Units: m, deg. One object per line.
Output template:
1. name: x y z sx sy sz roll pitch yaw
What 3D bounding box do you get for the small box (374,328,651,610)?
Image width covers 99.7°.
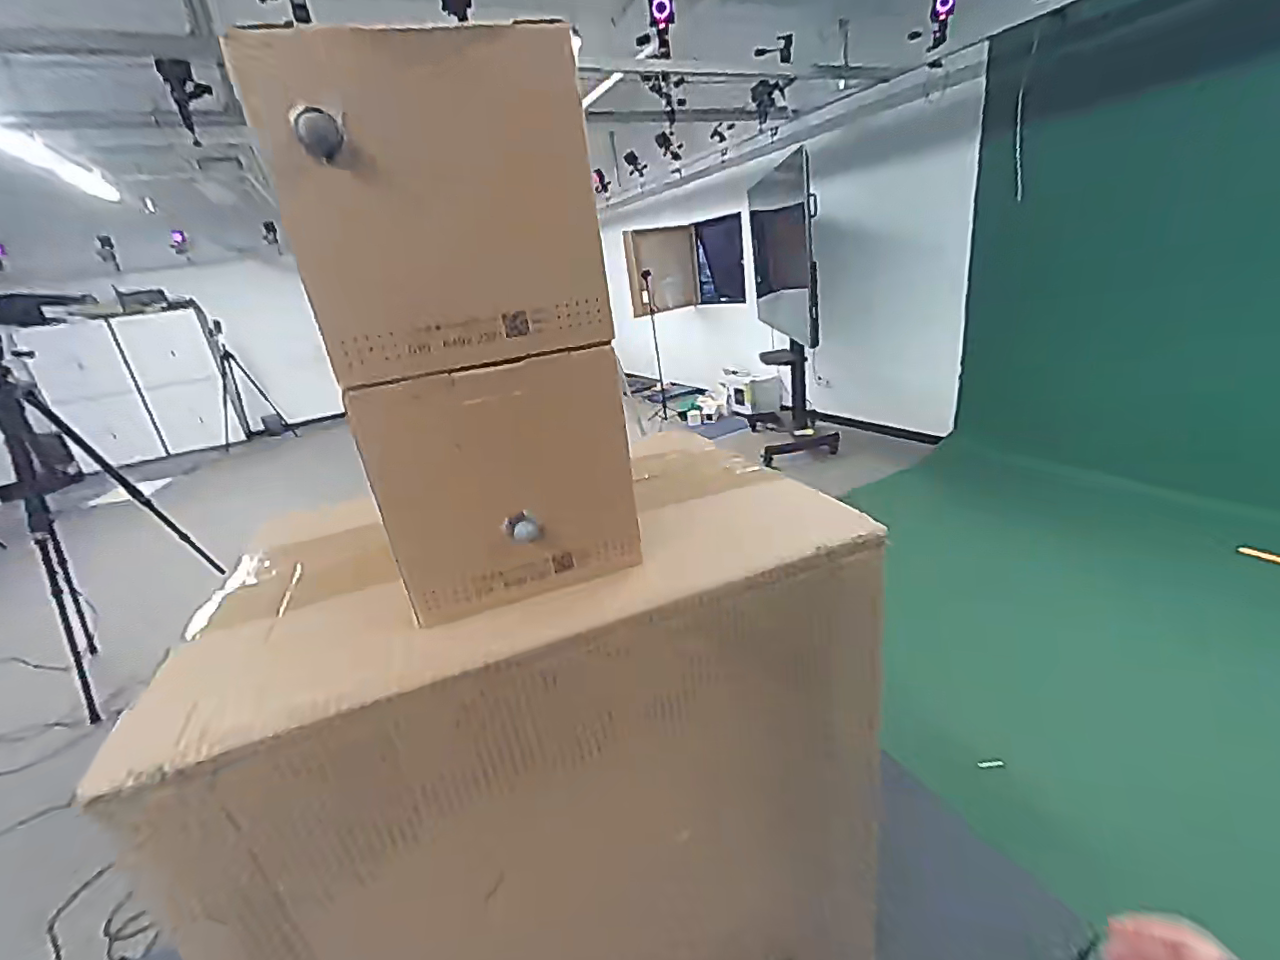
1. small box: -0.100 -0.023 0.443 0.168 0.176 0.179 -14 24 -16
